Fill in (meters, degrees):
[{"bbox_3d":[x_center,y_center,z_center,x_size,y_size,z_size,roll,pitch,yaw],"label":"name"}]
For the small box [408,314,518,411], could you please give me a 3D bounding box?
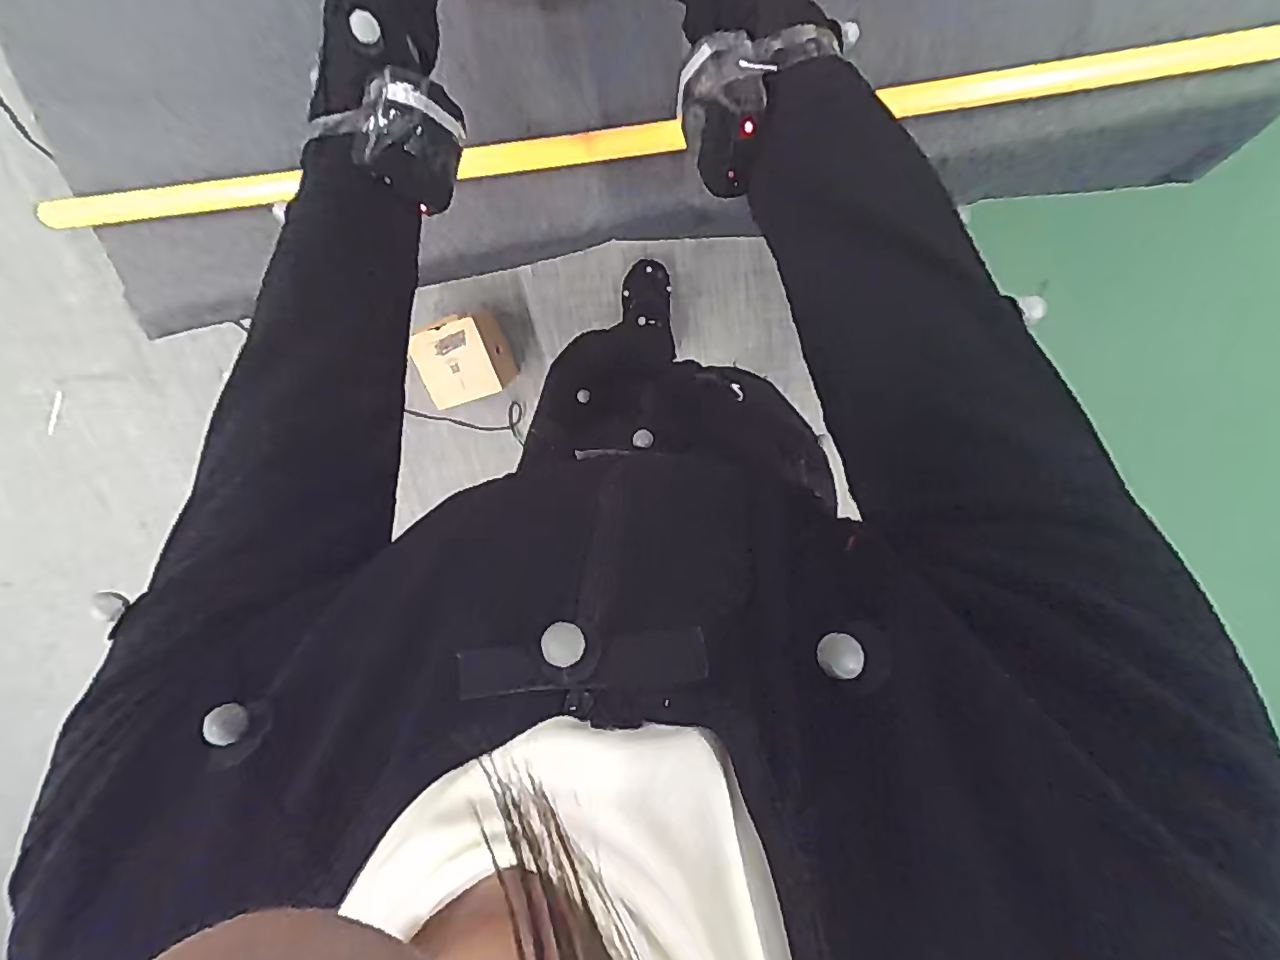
[{"bbox_3d":[-0.408,-0.285,1.278,0.168,0.176,0.179,-15,113,8],"label":"small box"}]
